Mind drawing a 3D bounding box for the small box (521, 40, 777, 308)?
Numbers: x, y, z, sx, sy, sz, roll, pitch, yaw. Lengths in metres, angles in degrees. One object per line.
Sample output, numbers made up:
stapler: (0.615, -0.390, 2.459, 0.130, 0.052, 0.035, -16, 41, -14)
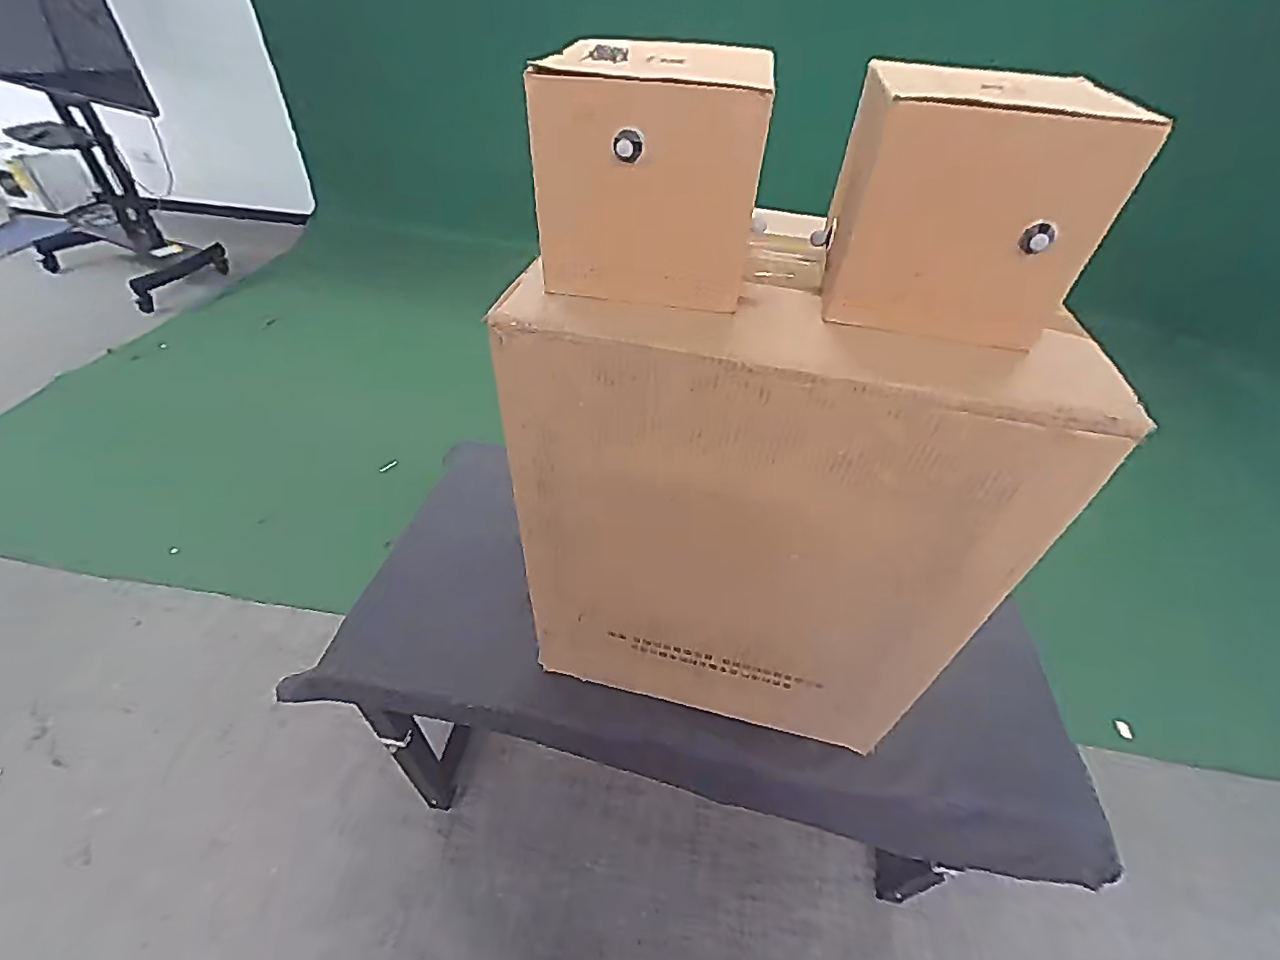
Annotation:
small box: (0.015, -0.275, 0.489, 0.179, 0.176, 0.168, 11, 48, 9)

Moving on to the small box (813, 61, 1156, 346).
small box: (0.263, -0.236, 0.467, 0.179, 0.176, 0.168, 12, 46, 8)
